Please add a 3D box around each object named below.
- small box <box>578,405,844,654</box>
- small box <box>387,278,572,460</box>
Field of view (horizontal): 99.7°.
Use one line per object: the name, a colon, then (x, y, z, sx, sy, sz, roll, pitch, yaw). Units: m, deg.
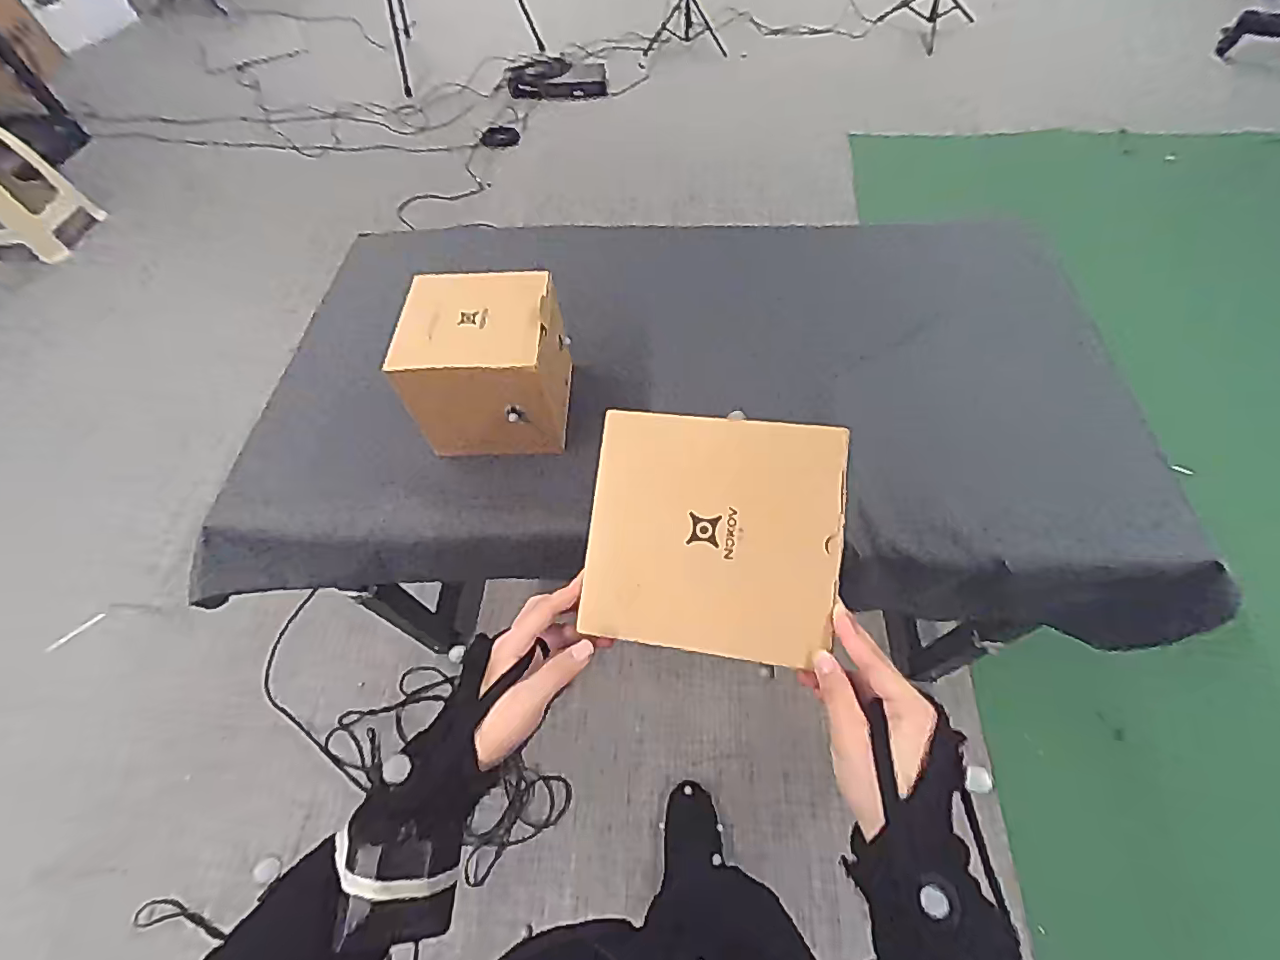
small box: (0.063, 0.045, 0.462, 0.179, 0.176, 0.168, 5, 80, 10)
small box: (-0.190, -0.139, 0.706, 0.179, 0.176, 0.168, -2, 56, 3)
